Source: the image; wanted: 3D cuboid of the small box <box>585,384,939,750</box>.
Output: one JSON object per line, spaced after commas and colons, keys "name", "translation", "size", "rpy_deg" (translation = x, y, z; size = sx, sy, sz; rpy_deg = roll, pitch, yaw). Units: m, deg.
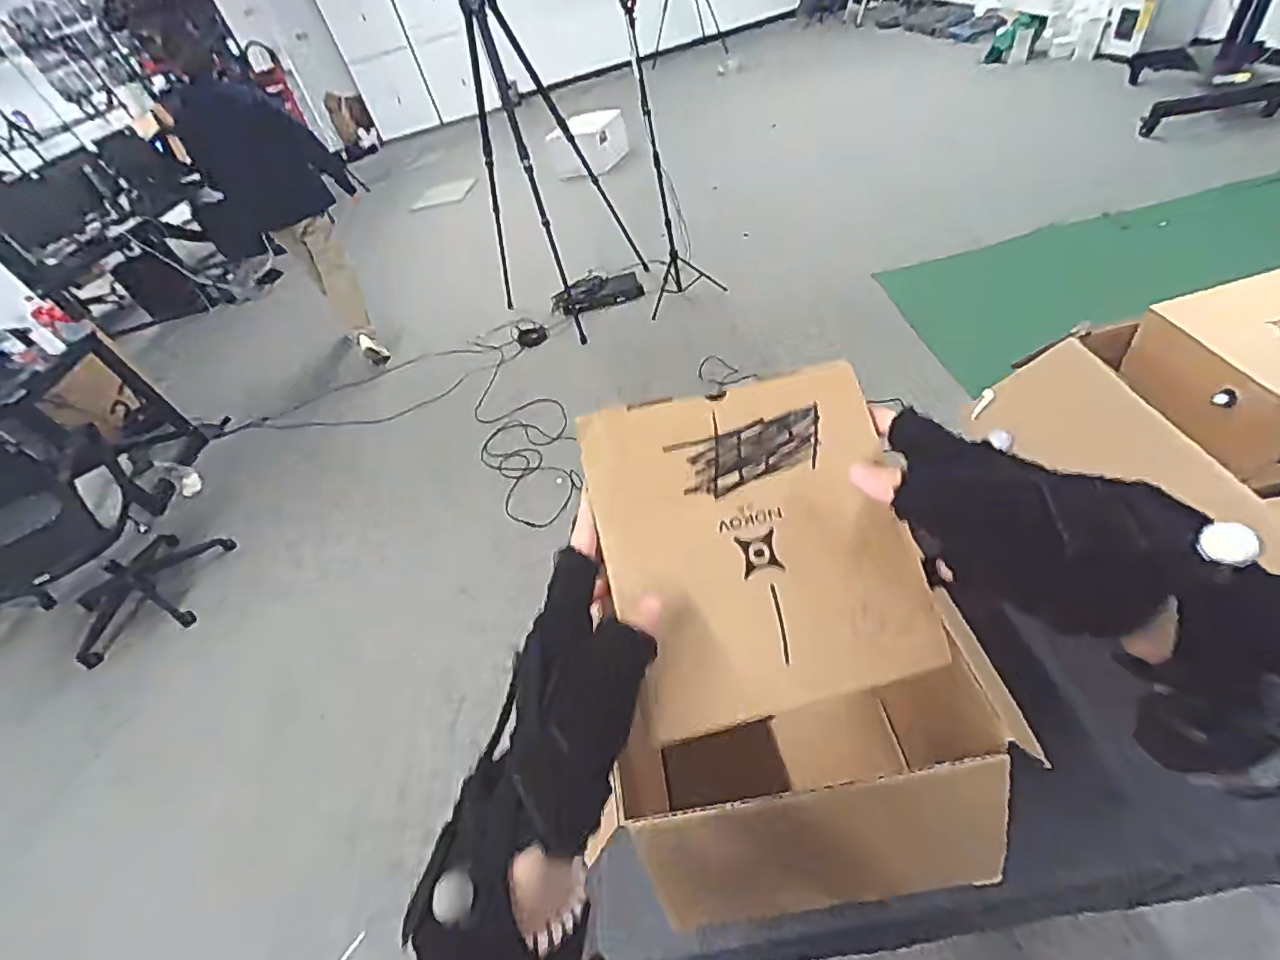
{"name": "small box", "translation": [0.056, 0.057, 0.372], "size": [0.168, 0.176, 0.179], "rpy_deg": [-11, 78, -6]}
